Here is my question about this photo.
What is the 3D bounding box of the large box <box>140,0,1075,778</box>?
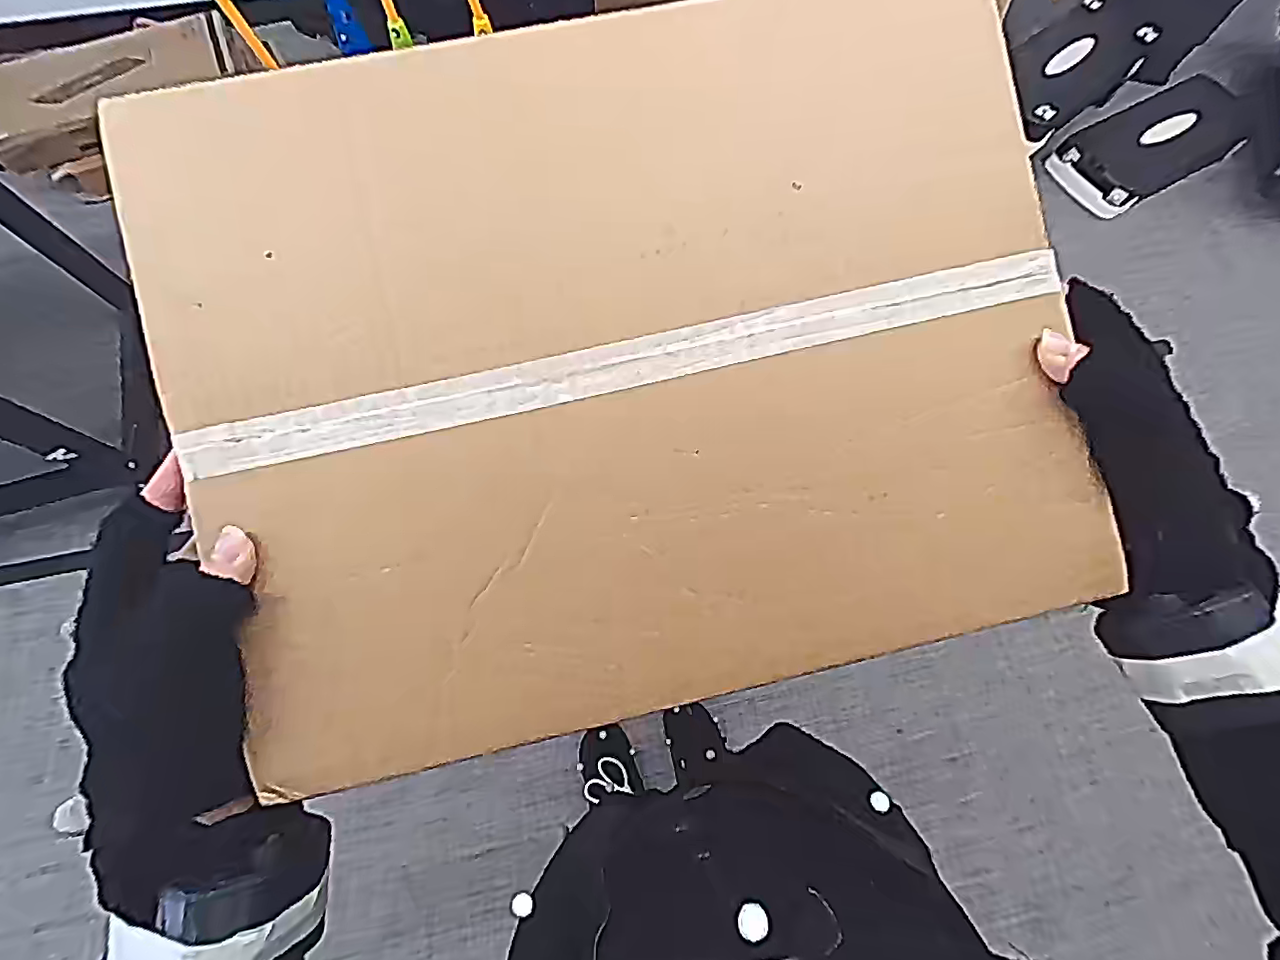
[{"bbox_3d":[-0.011,-0.055,0.407,0.408,0.320,0.320,-12,90,-4],"label":"large box"}]
